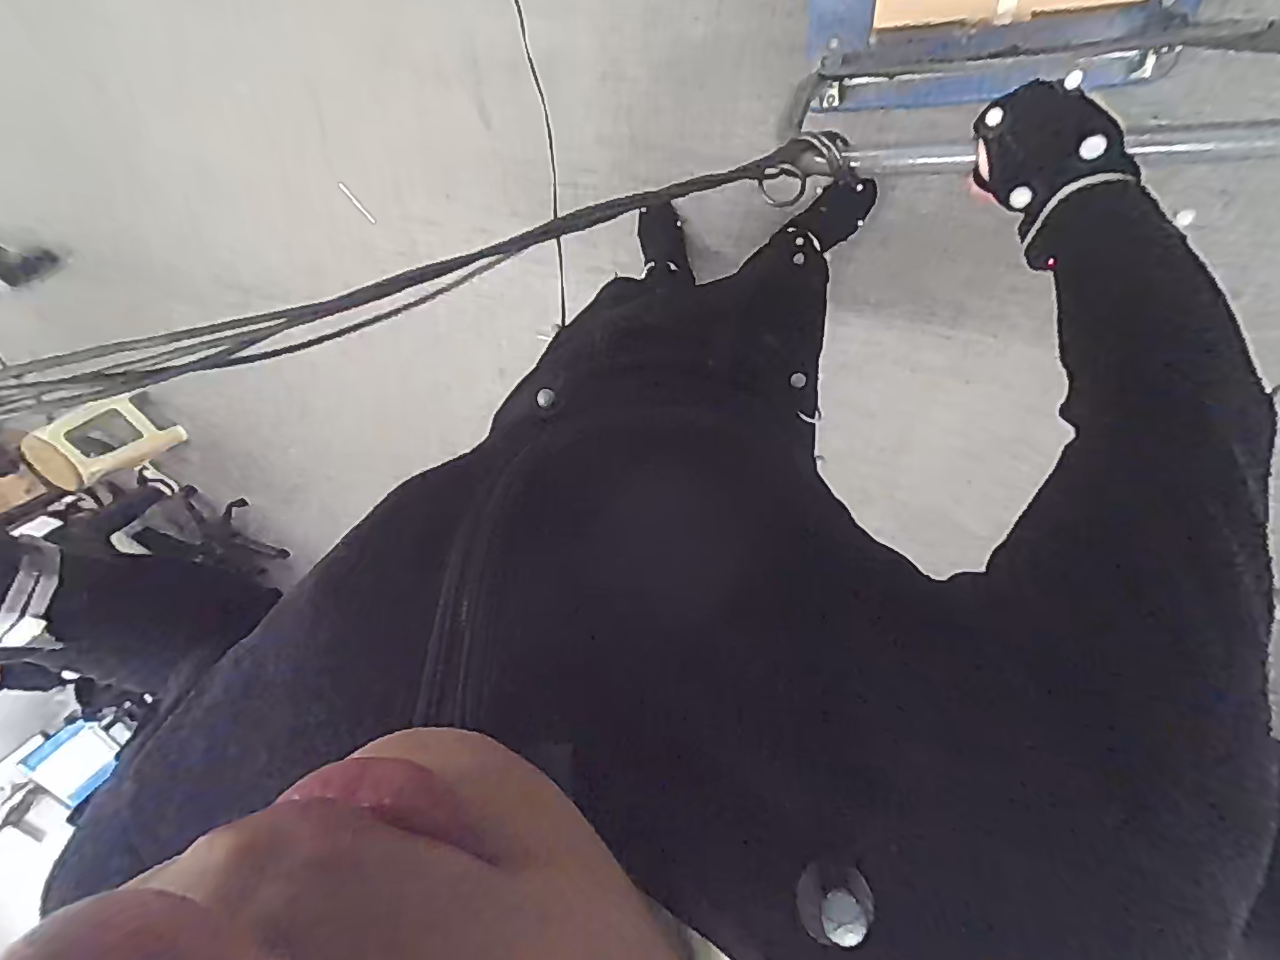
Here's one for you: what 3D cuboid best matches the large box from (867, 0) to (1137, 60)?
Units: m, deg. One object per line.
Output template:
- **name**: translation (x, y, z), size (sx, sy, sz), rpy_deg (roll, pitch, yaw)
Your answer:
- **large box**: translation (0.505, -0.835, 0.721), size (0.320, 0.320, 0.408), rpy_deg (10, 126, 18)
